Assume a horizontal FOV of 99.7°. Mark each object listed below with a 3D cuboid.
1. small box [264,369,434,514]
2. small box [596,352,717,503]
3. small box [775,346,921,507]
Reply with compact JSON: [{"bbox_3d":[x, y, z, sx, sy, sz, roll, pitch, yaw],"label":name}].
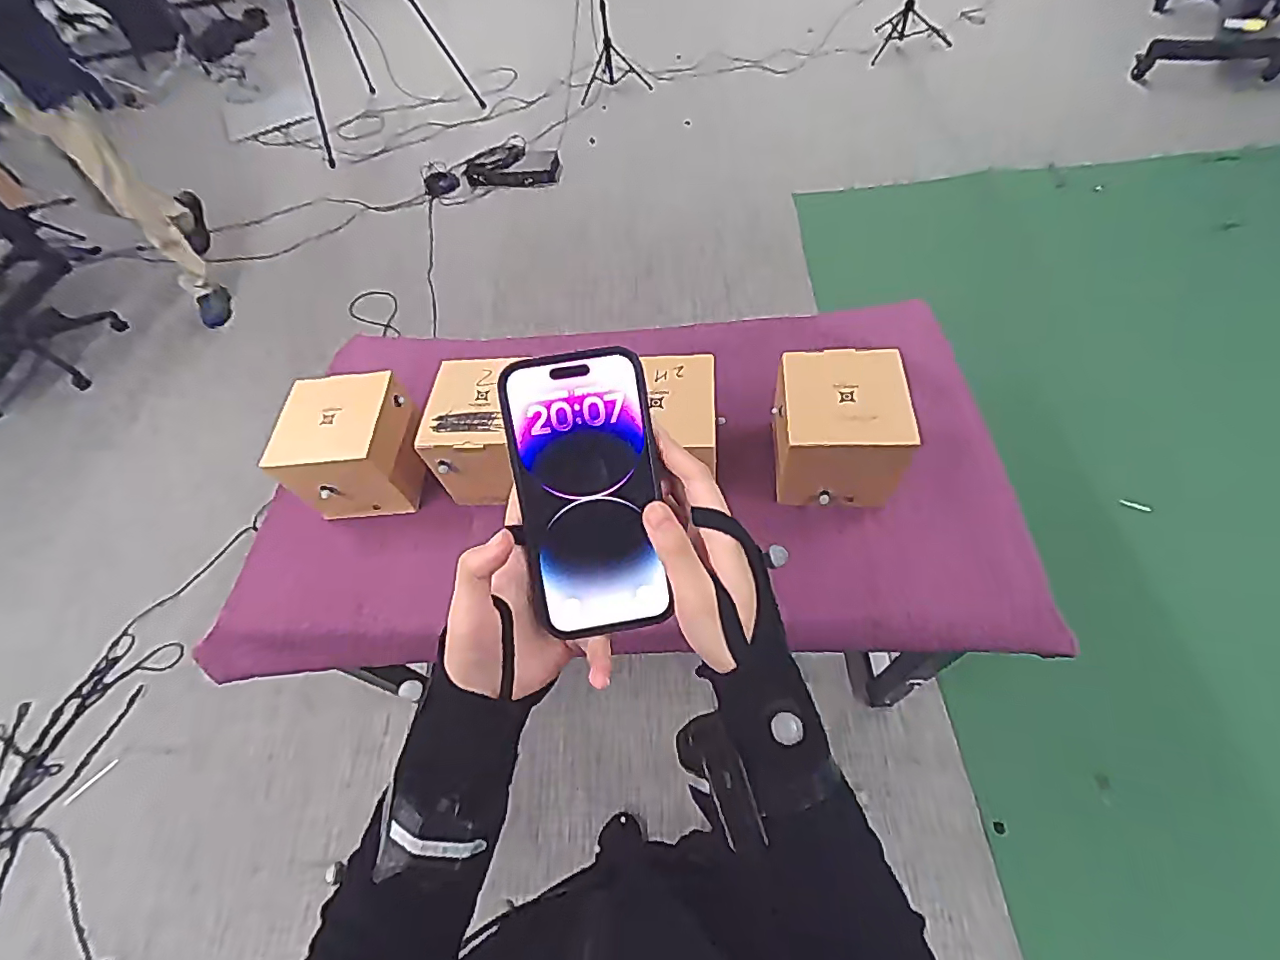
[{"bbox_3d":[-0.462,-0.055,0.892,0.168,0.176,0.179,-5,56,4],"label":"small box"},{"bbox_3d":[0.035,-0.075,0.839,0.168,0.176,0.179,0,57,7],"label":"small box"},{"bbox_3d":[0.294,-0.078,0.808,0.168,0.176,0.179,1,57,9],"label":"small box"}]
